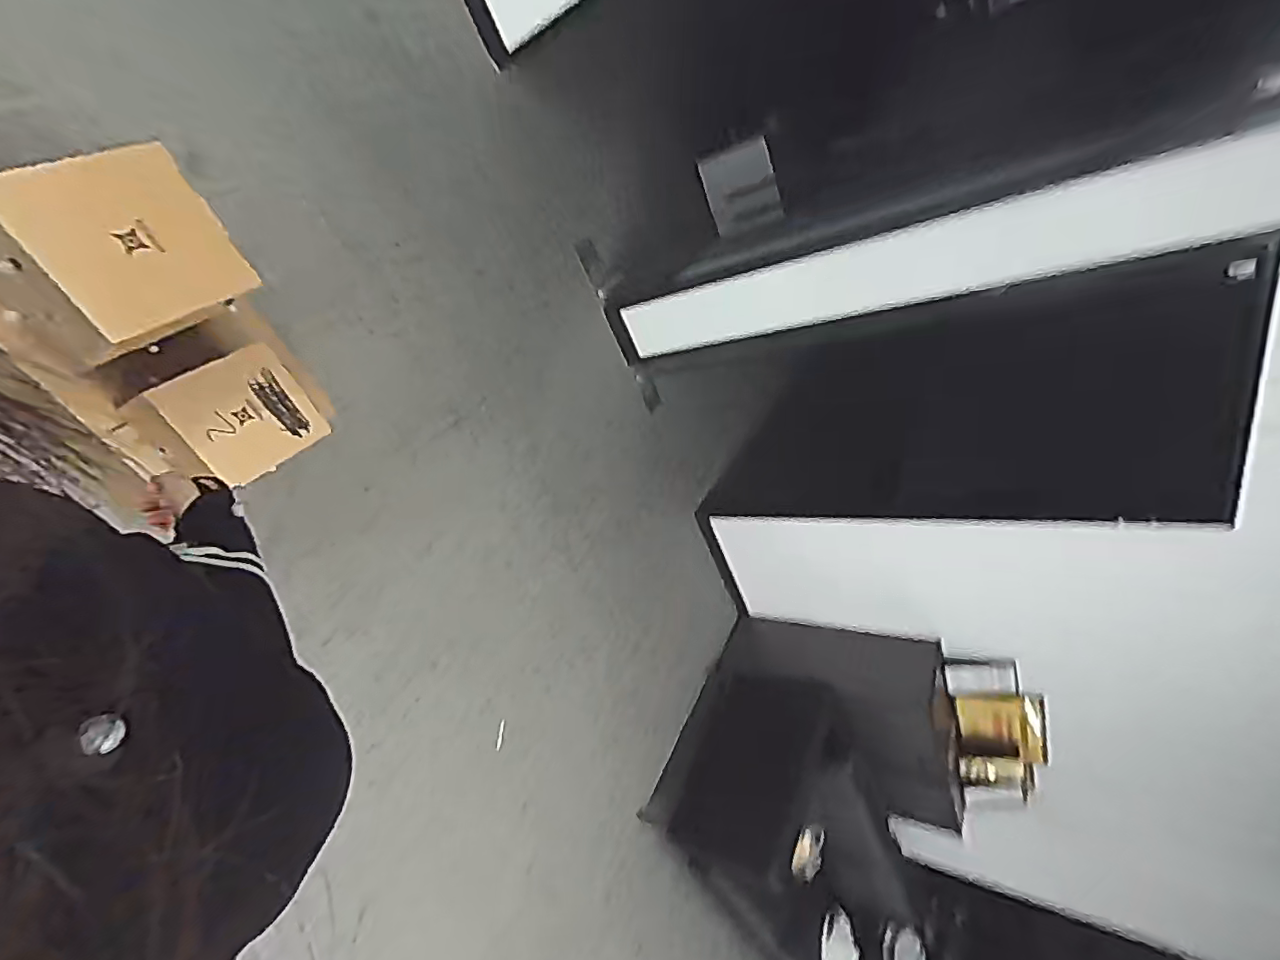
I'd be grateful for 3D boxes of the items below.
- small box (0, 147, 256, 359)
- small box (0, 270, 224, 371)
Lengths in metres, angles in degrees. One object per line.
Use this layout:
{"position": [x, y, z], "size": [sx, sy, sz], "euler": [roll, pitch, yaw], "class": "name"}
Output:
{"position": [-0.618, -0.260, 0.641], "size": [0.179, 0.176, 0.168], "euler": [-51, 129, -39], "class": "small box"}
{"position": [-0.741, -0.266, 0.747], "size": [0.179, 0.176, 0.168], "euler": [-50, 128, -39], "class": "small box"}
